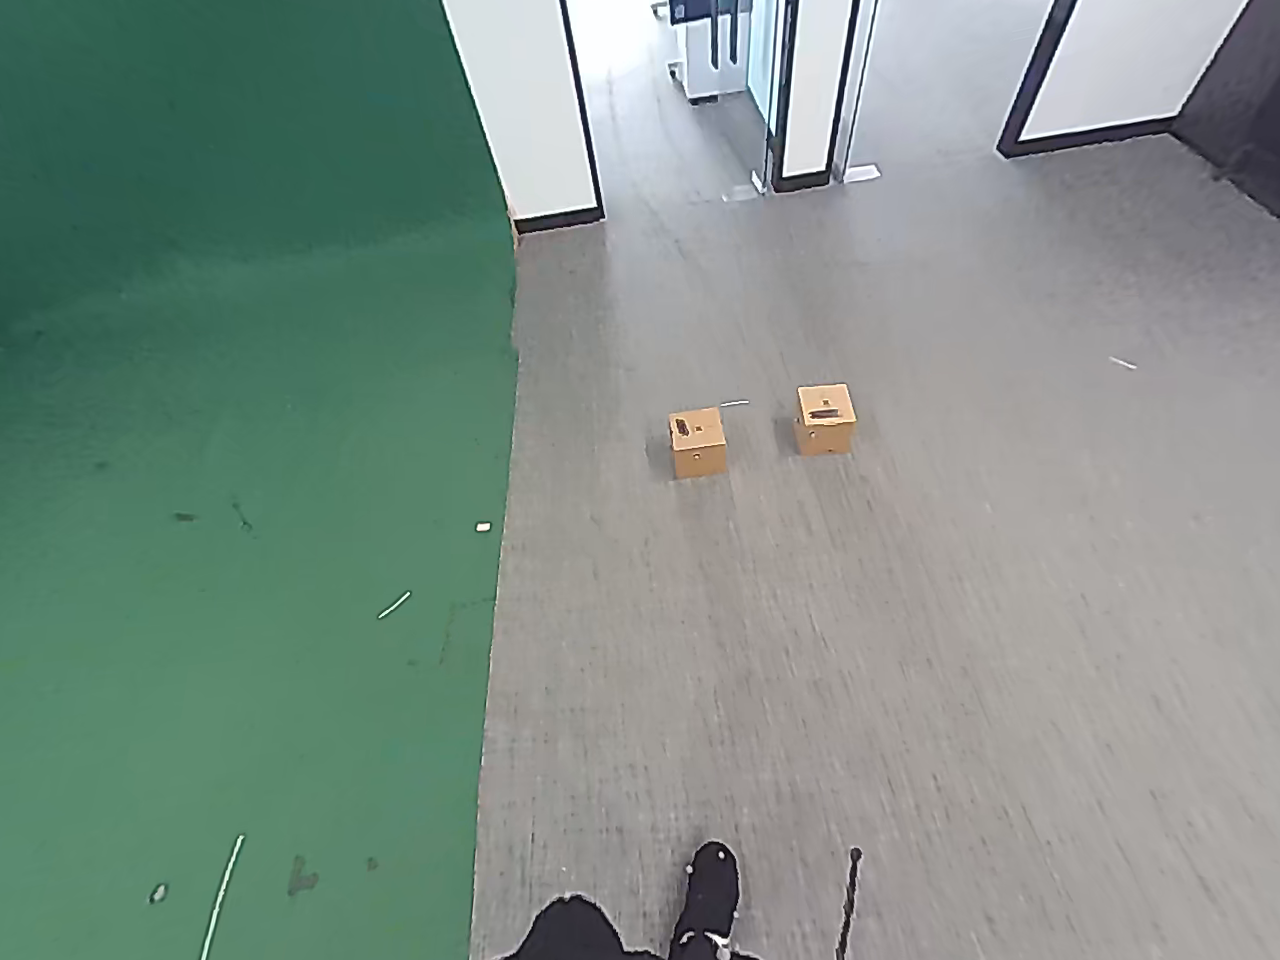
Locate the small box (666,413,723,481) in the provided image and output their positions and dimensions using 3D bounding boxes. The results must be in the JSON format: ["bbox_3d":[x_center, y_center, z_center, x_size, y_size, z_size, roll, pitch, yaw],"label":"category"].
[{"bbox_3d":[0.192,-0.111,1.900,0.179,0.176,0.168,-7,55,1],"label":"small box"}]
